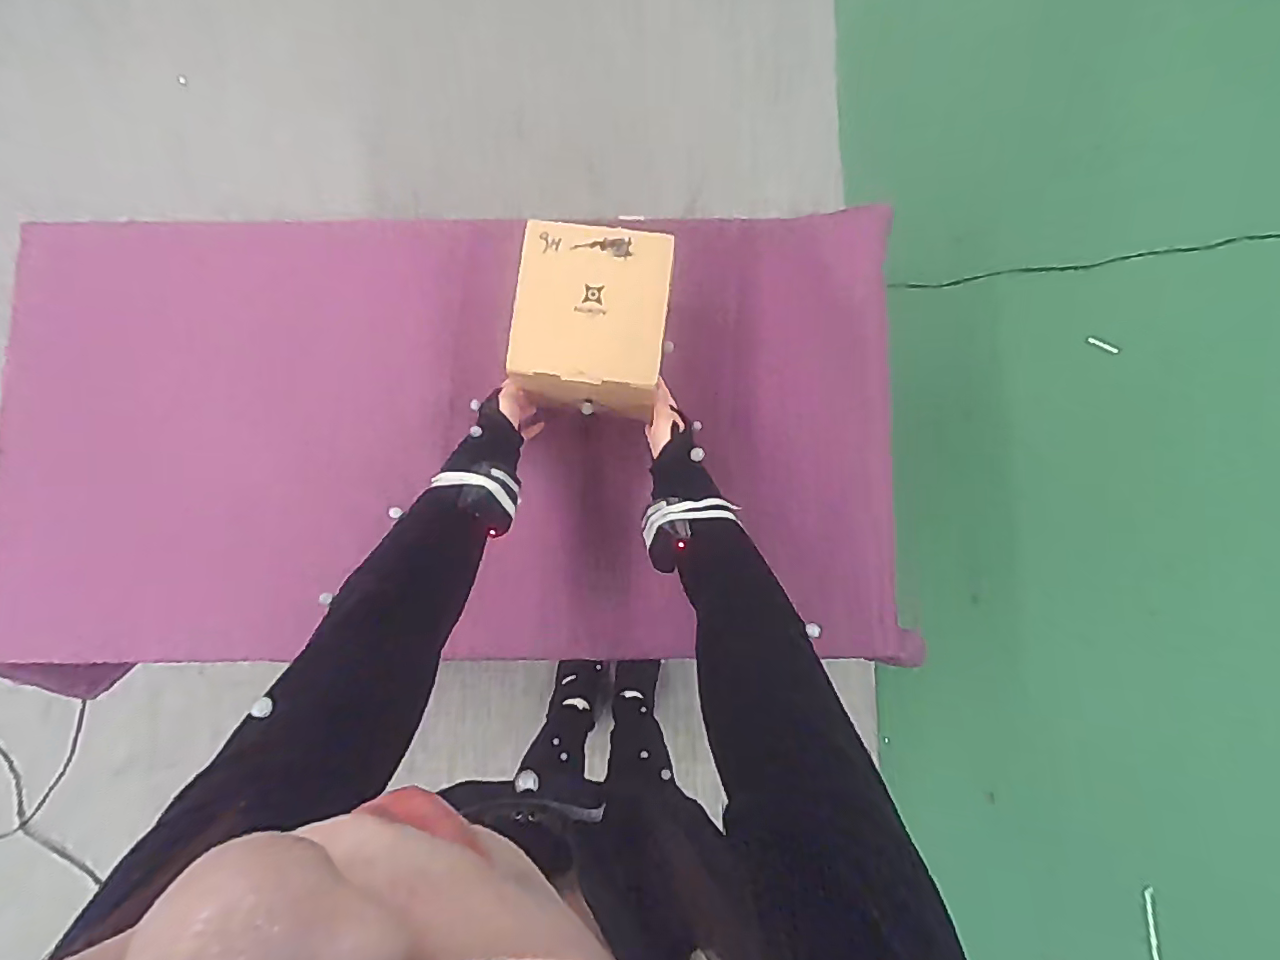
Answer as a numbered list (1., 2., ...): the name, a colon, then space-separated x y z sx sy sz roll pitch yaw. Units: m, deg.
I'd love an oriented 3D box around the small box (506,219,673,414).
1. small box: -0.053 -0.186 0.665 0.168 0.176 0.179 7 85 1
